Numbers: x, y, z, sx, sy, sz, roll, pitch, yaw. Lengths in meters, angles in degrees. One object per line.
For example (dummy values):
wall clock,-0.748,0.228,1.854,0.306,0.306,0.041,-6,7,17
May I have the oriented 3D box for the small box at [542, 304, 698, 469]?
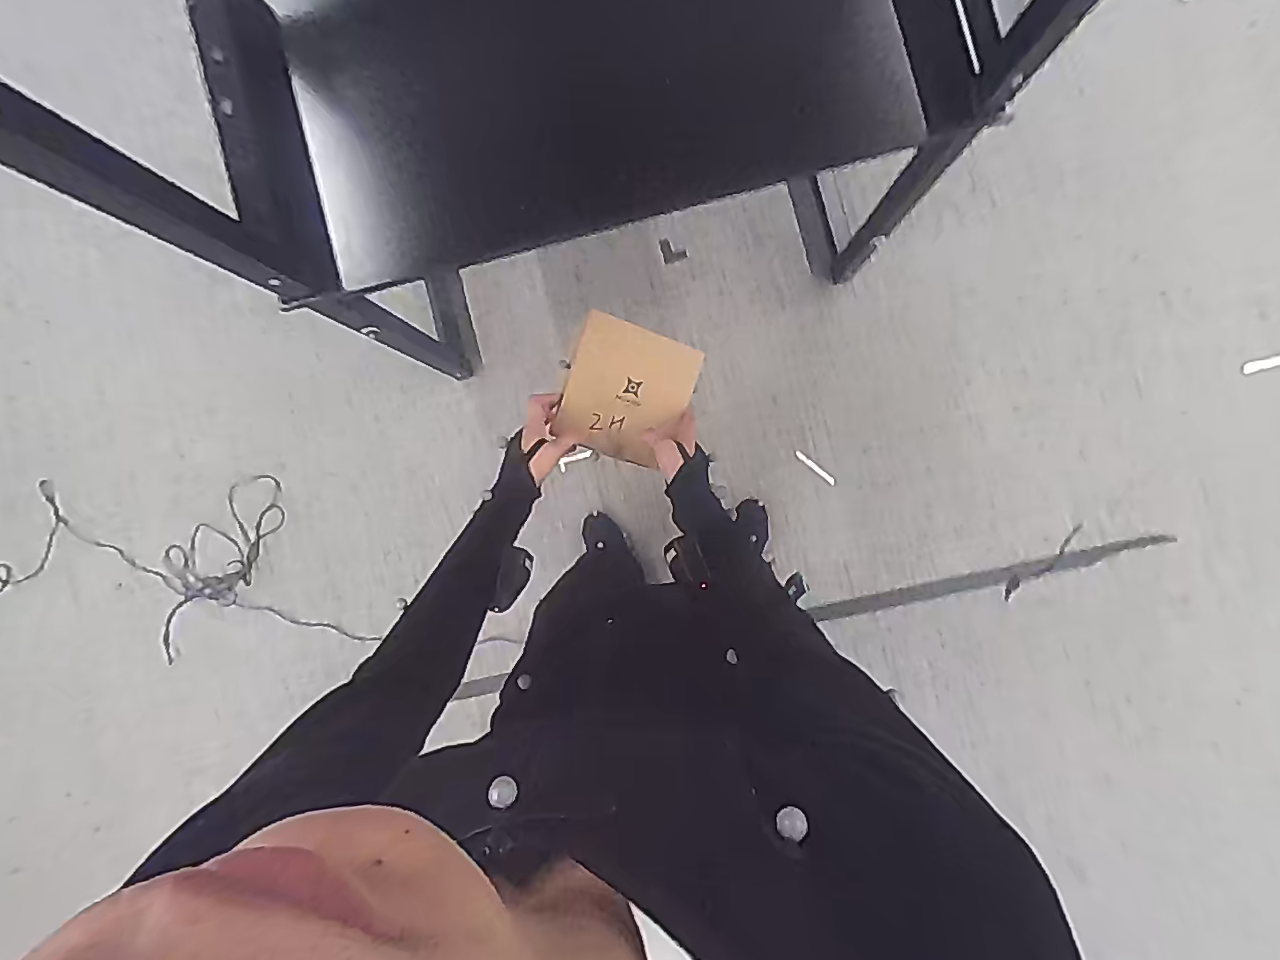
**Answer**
small box,-0.040,-0.129,0.787,0.168,0.176,0.179,17,92,-14
